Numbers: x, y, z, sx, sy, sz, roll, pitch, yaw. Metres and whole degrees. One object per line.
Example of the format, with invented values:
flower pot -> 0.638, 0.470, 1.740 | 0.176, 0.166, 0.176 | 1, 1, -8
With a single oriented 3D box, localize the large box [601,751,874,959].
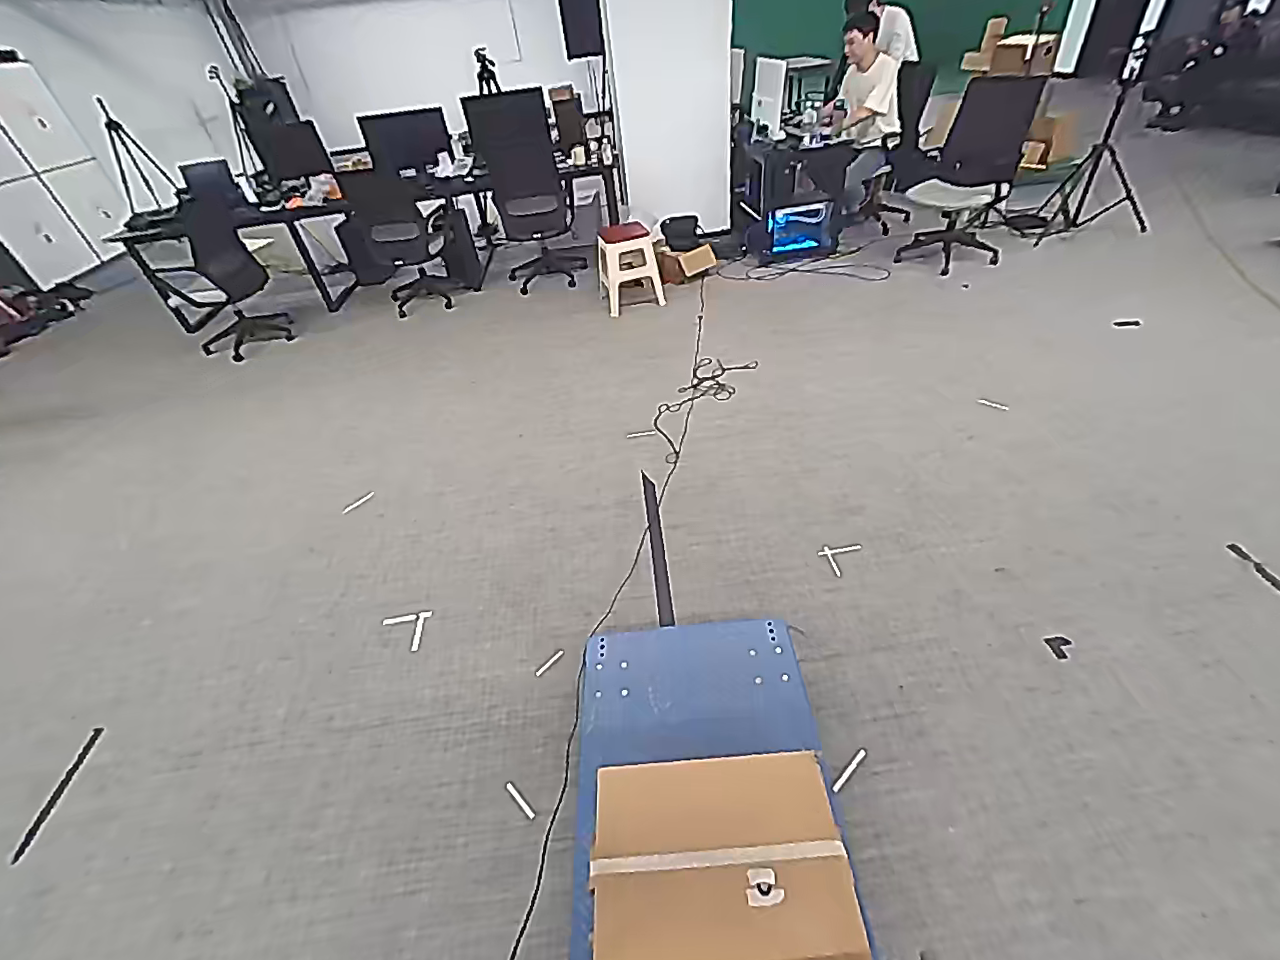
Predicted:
large box -> 0.148, 0.737, 0.985 | 0.408, 0.320, 0.320 | -6, 40, 2
